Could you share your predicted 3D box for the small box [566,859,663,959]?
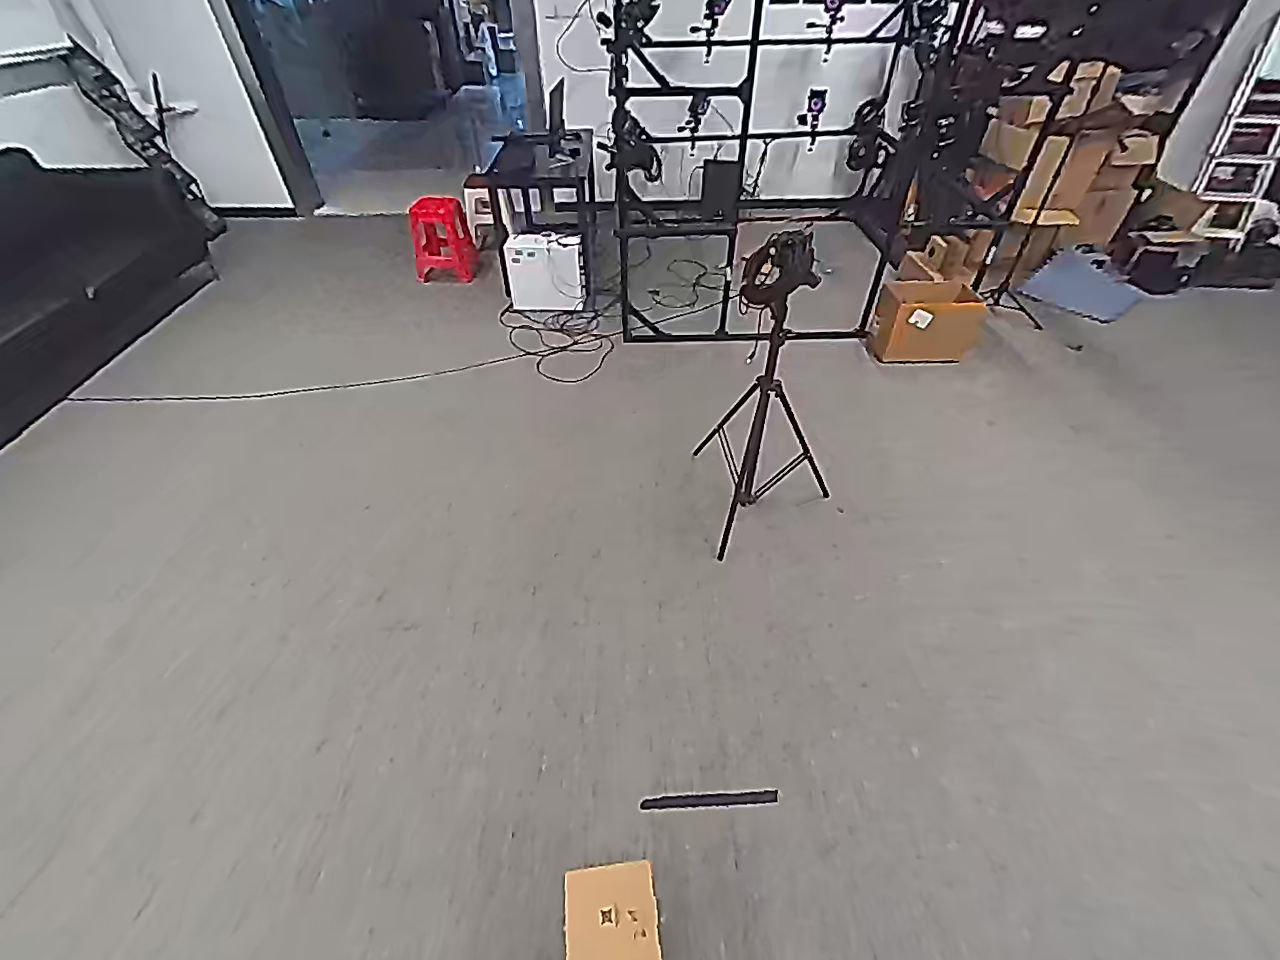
[{"bbox_3d":[-0.049,0.881,1.074,0.179,0.176,0.168,-5,44,-4],"label":"small box"}]
